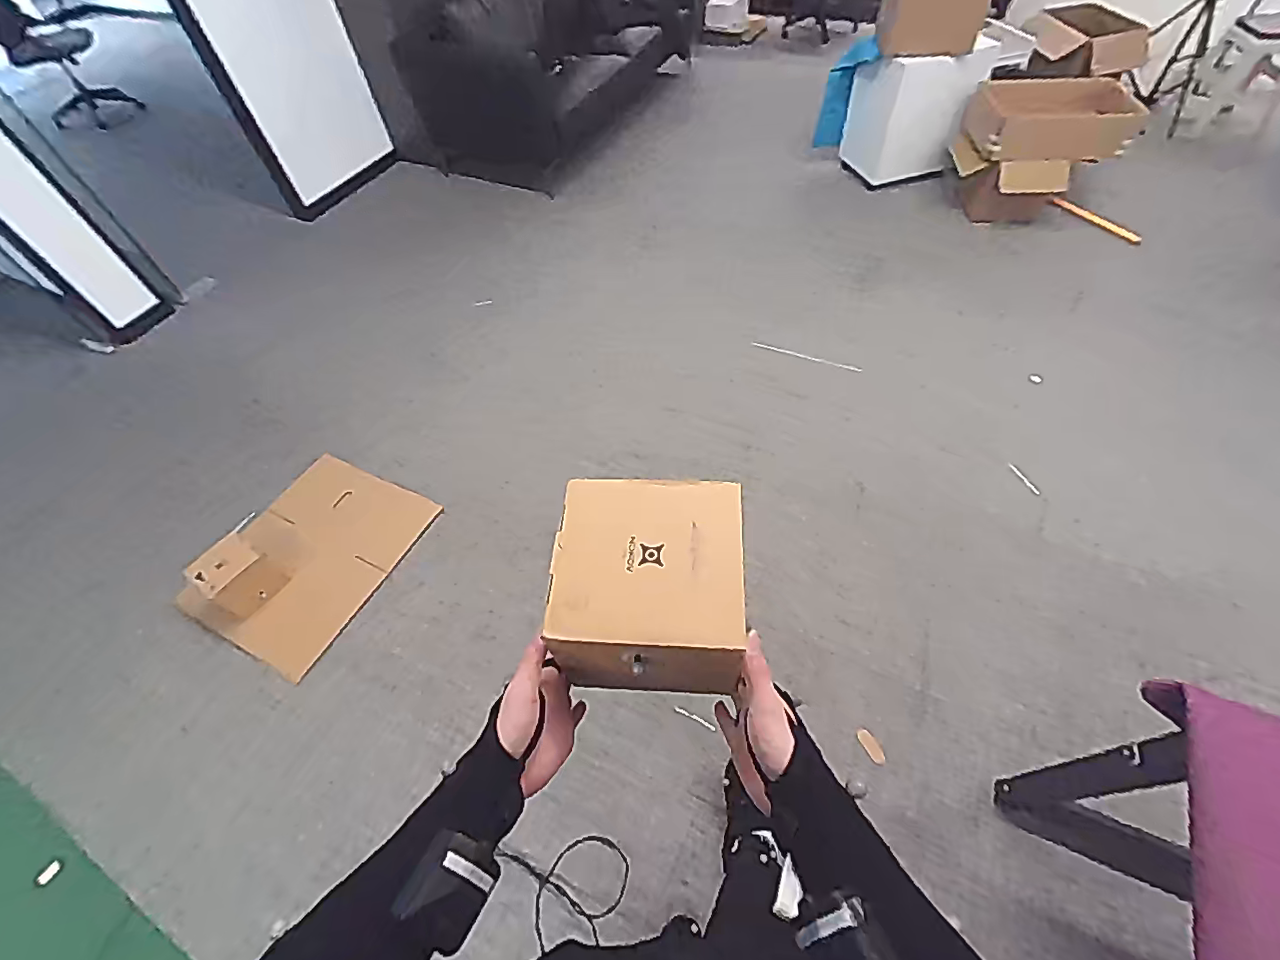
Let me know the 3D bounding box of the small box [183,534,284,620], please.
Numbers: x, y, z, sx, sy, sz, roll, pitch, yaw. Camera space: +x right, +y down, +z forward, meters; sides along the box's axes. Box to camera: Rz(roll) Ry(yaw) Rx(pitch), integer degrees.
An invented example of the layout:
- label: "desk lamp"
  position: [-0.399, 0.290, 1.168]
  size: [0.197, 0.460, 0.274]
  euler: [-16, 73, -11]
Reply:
- label: "small box"
  position: [-1.289, 0.314, 1.736]
  size: [0.168, 0.176, 0.179]
  euler: [29, 61, 23]

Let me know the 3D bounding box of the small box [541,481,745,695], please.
- label: "small box"
  position: [0.013, 0.117, 0.561]
  size: [0.179, 0.176, 0.168]
  euler: [1, 56, 5]
